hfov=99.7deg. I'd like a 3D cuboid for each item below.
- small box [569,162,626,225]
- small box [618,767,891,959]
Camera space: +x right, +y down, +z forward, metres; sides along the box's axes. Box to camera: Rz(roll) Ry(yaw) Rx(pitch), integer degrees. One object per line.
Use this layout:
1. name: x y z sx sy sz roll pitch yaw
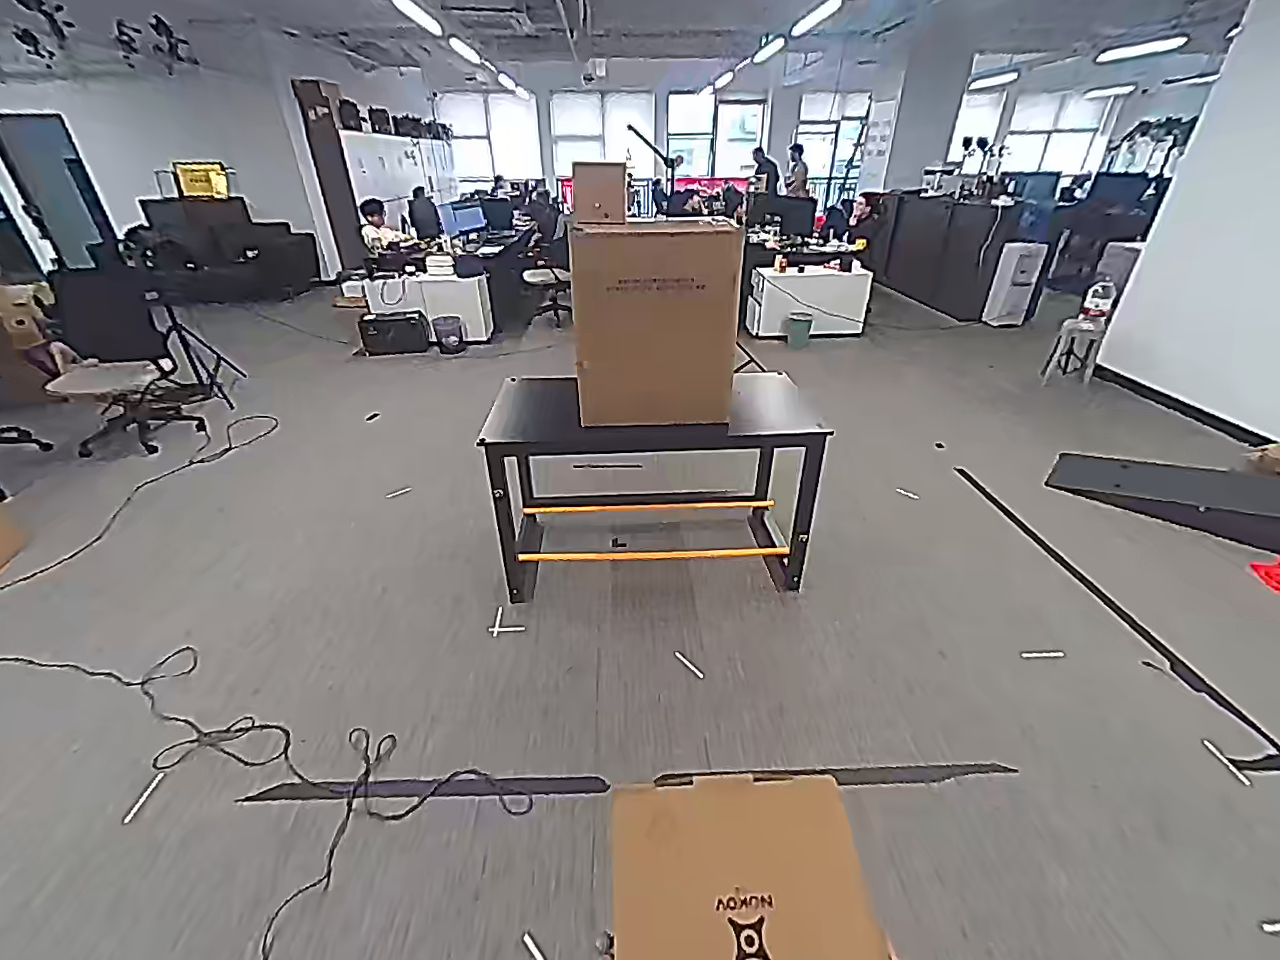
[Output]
1. small box: -0.132 -0.918 1.731 0.168 0.176 0.179 0 30 0
2. small box: 0.067 0.334 0.392 0.168 0.176 0.179 -2 43 -2
